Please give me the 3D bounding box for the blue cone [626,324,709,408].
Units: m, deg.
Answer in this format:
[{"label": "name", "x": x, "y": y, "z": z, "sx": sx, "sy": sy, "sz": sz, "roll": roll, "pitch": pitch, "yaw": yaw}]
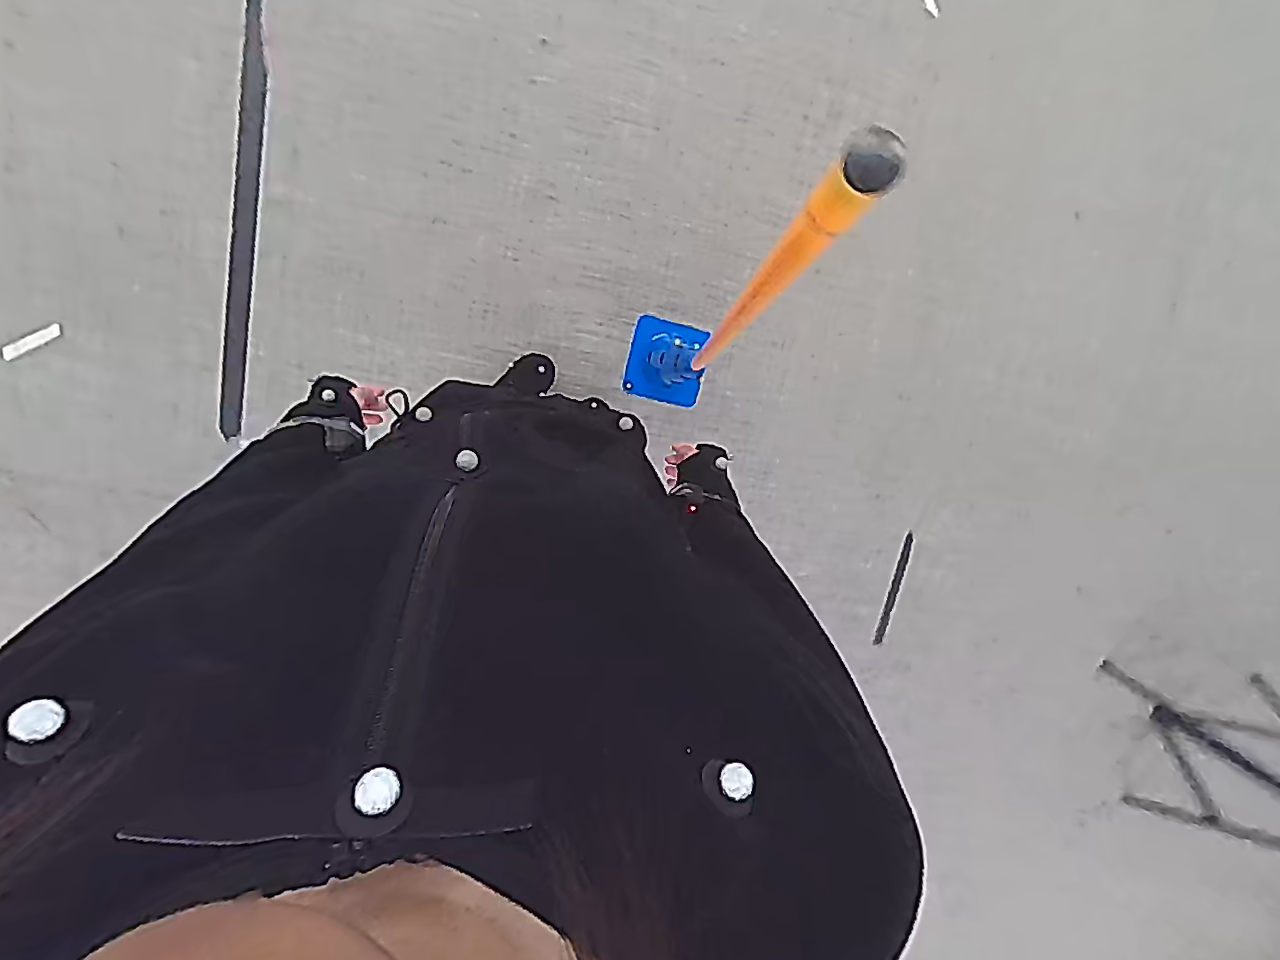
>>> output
[{"label": "blue cone", "x": 0.088, "y": -0.252, "z": 1.222, "sx": 0.193, "sy": 0.380, "sz": 0.192, "roll": 15, "pitch": 102, "yaw": -10}]
